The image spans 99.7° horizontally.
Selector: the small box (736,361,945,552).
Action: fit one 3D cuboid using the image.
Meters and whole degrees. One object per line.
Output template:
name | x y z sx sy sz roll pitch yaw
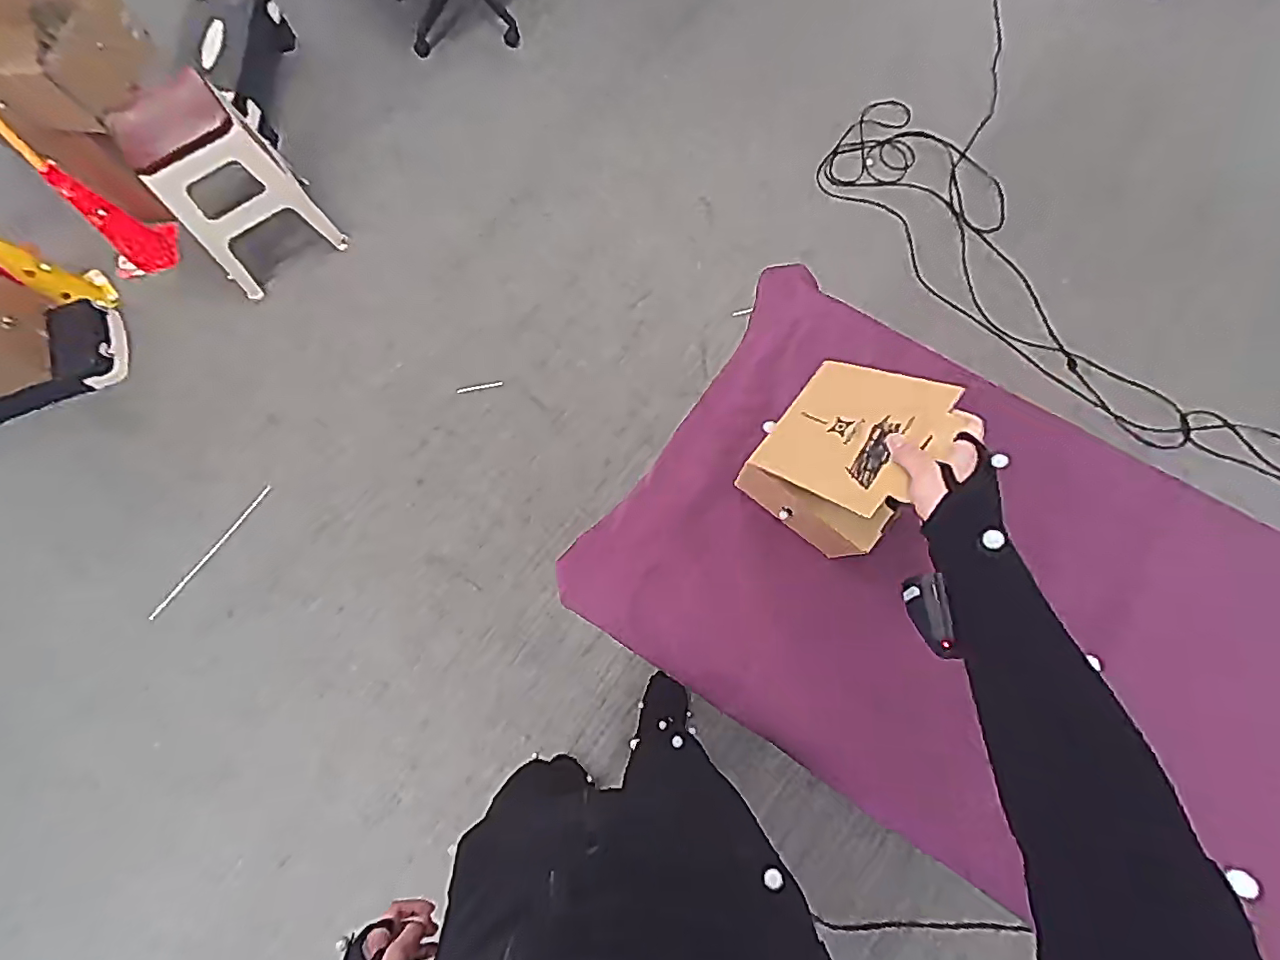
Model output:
small box | 0.247 -0.020 0.715 0.179 0.176 0.168 36 84 10
